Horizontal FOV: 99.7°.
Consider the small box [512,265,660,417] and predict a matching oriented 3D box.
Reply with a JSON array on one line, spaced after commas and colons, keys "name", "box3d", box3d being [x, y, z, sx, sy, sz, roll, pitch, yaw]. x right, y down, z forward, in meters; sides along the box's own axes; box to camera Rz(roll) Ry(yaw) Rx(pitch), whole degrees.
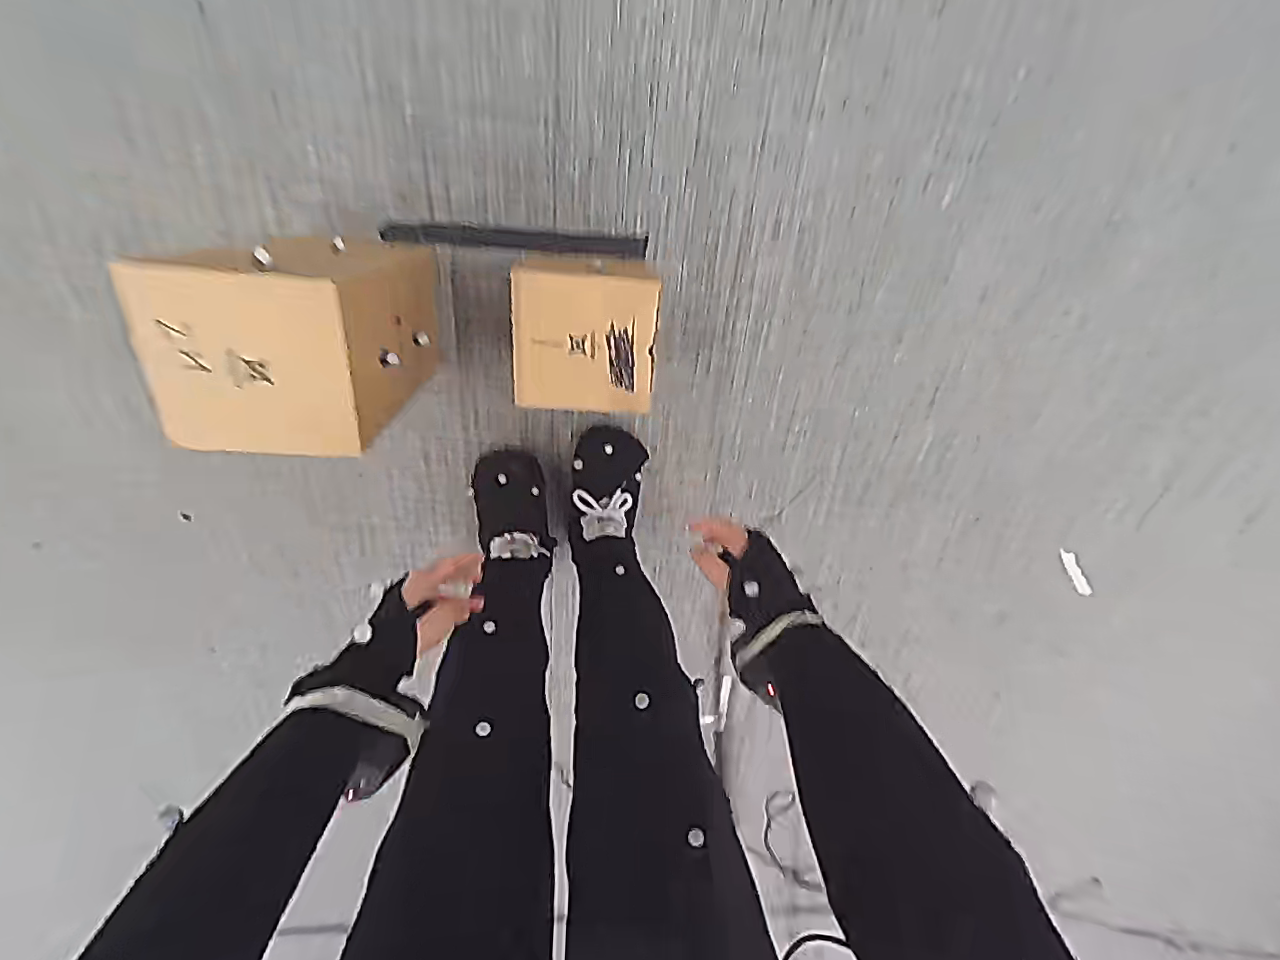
[{"name": "small box", "box3d": [-0.074, -0.195, 0.739, 0.179, 0.176, 0.168, 2, 117, -5]}]

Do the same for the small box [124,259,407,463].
[{"name": "small box", "box3d": [-0.354, -0.129, 0.560, 0.179, 0.176, 0.168, 3, 116, -6]}]
